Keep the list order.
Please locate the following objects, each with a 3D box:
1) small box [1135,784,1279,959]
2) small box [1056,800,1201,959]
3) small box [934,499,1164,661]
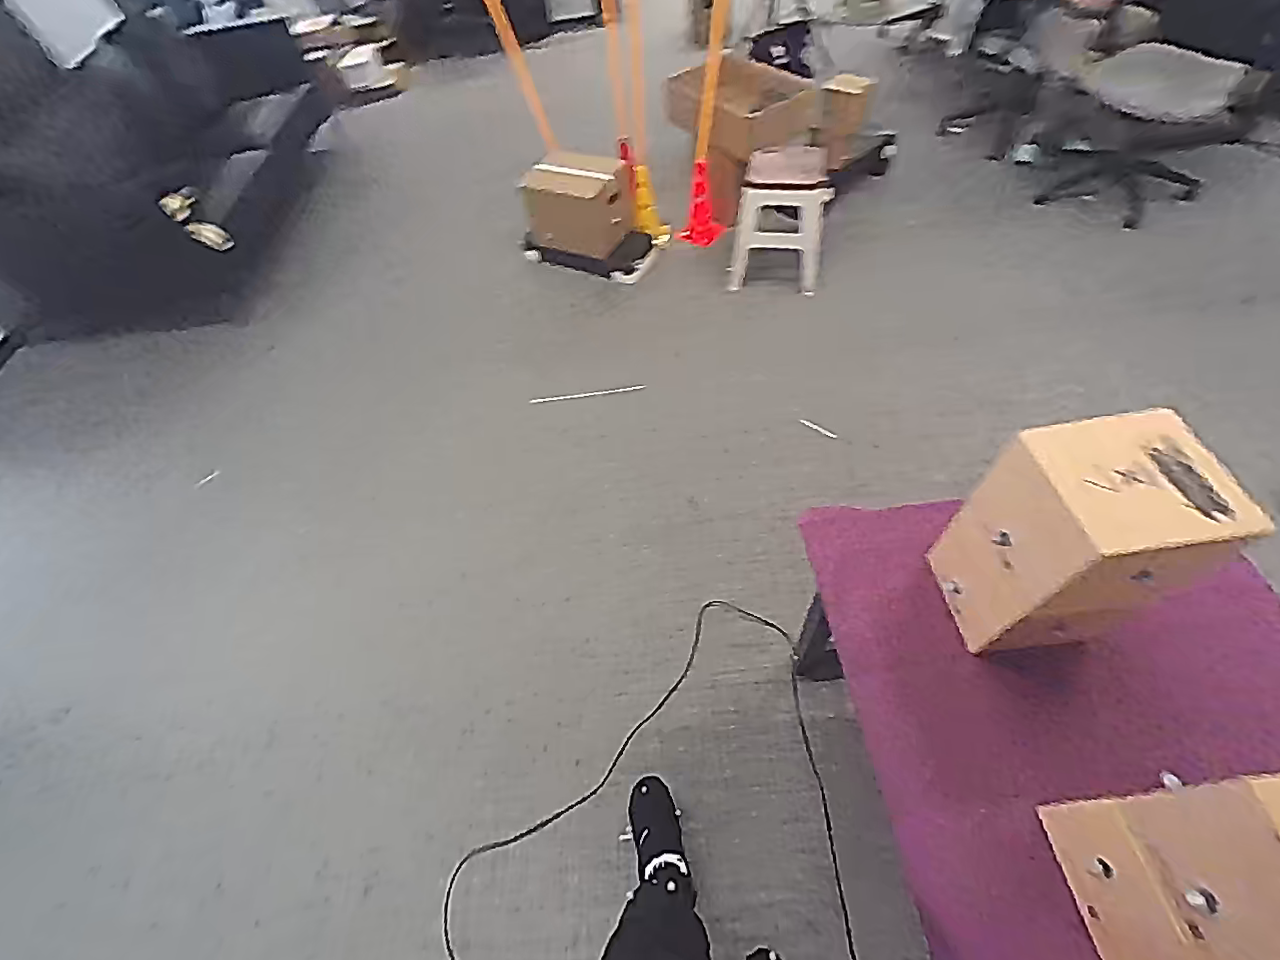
[{"bbox_3d":[0.579,0.344,0.436,0.179,0.176,0.168,-6,53,2],"label":"small box"},{"bbox_3d":[0.590,0.440,0.570,0.179,0.176,0.168,-7,53,1],"label":"small box"},{"bbox_3d":[0.566,0.149,0.781,0.179,0.176,0.168,-8,53,2],"label":"small box"}]
